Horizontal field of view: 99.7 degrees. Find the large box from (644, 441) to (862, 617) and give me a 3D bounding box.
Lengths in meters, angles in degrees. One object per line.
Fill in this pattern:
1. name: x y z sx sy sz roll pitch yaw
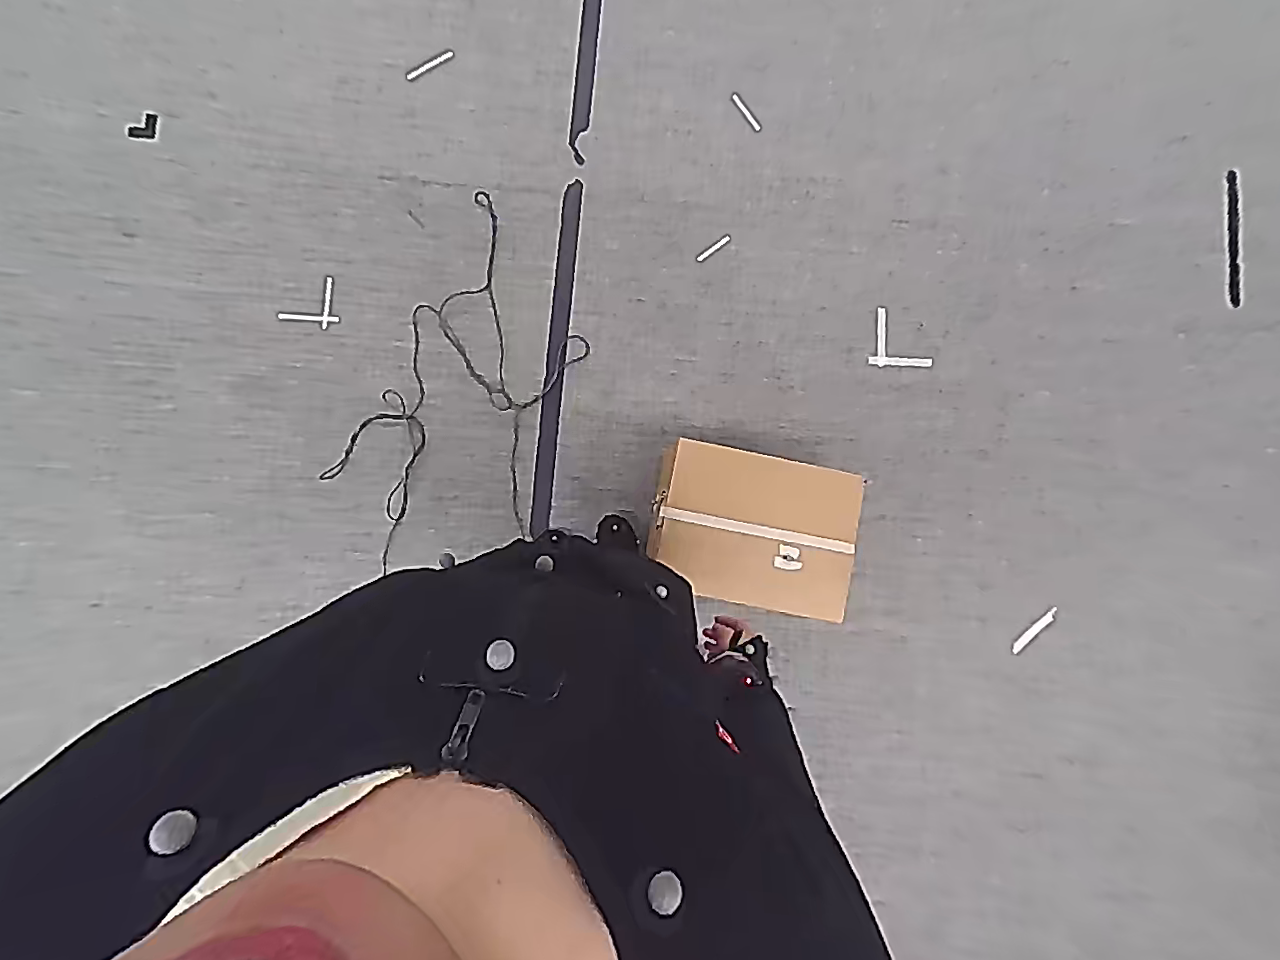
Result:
1. large box: 0.237 0.111 1.264 0.408 0.320 0.320 11 86 -3
